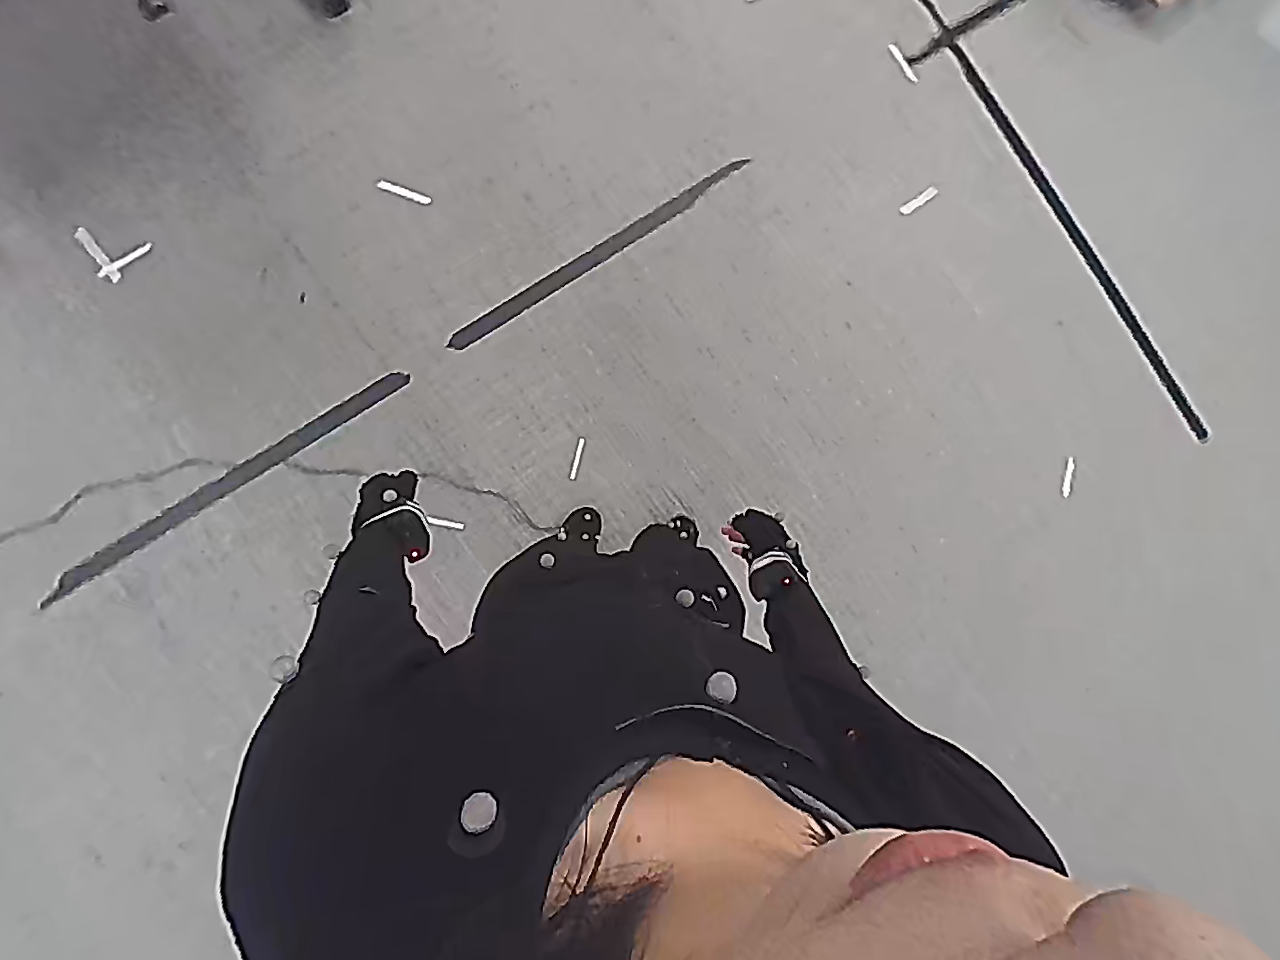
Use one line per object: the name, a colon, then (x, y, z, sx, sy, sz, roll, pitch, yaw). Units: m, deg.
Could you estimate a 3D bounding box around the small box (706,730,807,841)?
small box: (0.307, 0.811, 1.457, 0.179, 0.176, 0.168, 36, 82, -4)
